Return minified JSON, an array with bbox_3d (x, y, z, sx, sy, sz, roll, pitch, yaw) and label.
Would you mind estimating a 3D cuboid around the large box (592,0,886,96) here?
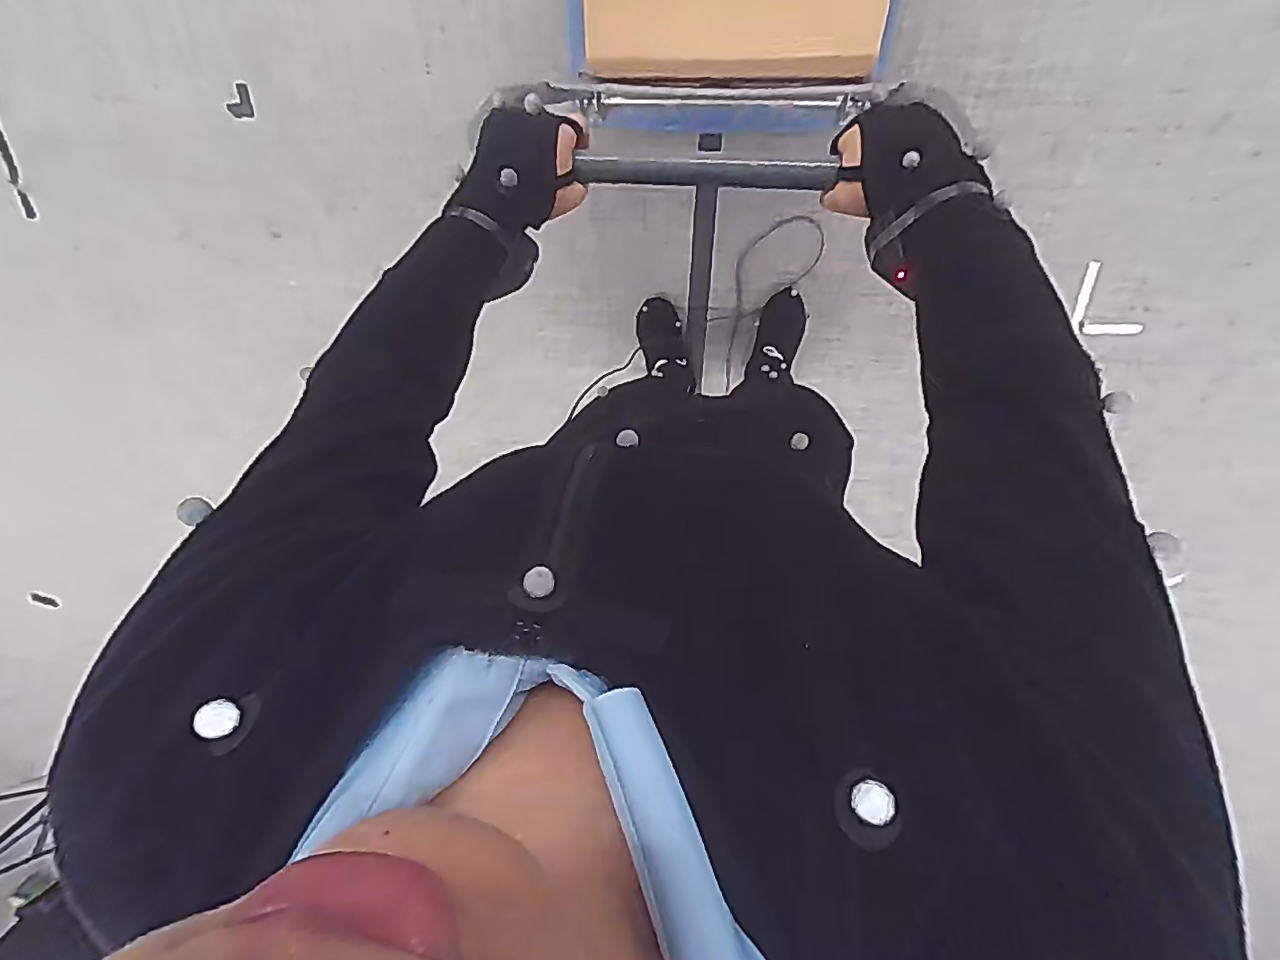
[{"bbox_3d":[0.145,-0.784,0.818,0.408,0.320,0.320,4,124,6],"label":"large box"}]
